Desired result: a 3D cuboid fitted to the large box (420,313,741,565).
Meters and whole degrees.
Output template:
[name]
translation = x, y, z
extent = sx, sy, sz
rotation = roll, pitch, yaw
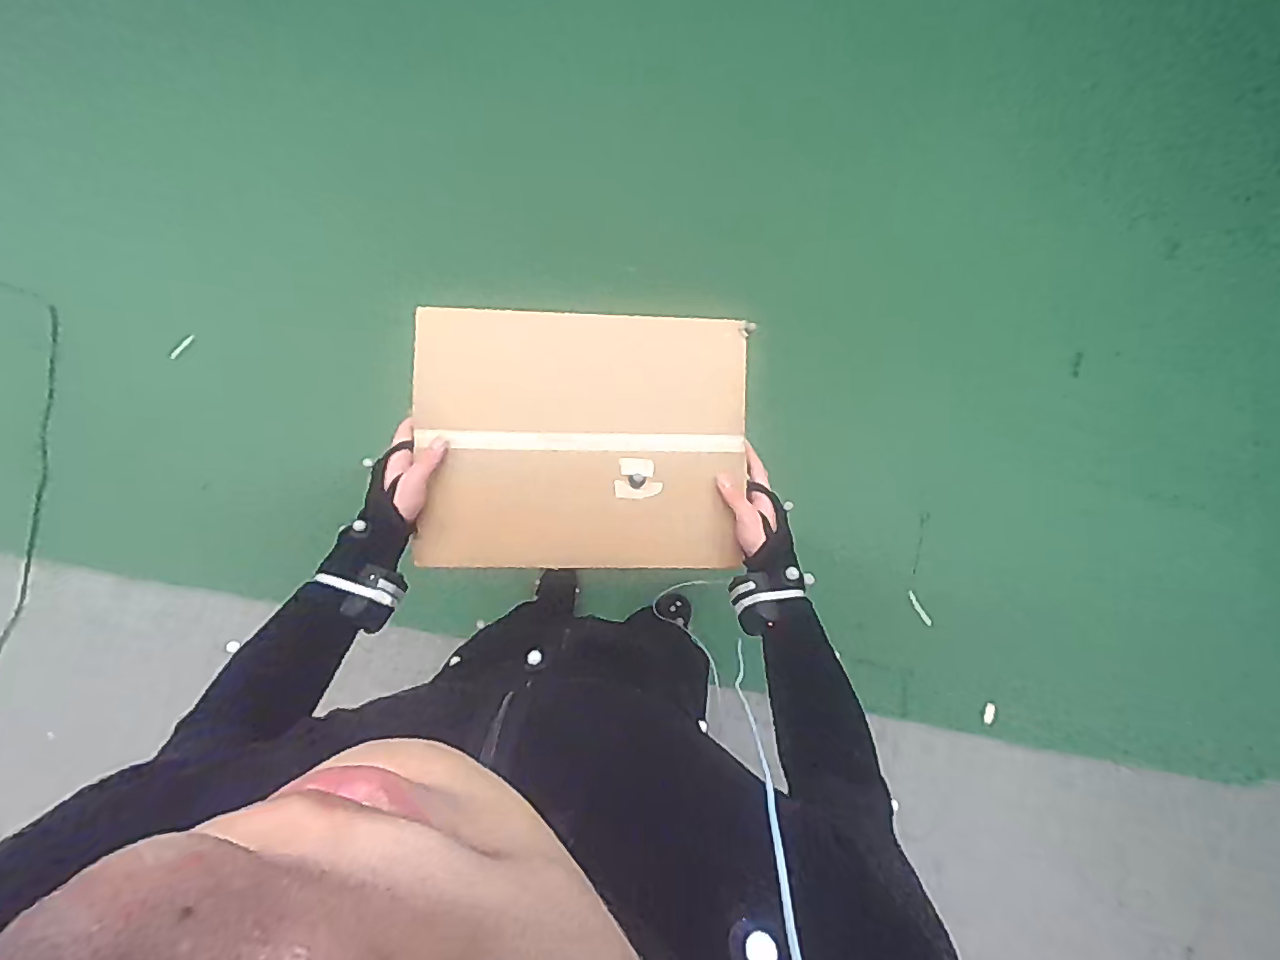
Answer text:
[large box]
translation = -0.085, -0.050, 0.824
extent = 0.408, 0.320, 0.320
rotation = 0, 90, -5
